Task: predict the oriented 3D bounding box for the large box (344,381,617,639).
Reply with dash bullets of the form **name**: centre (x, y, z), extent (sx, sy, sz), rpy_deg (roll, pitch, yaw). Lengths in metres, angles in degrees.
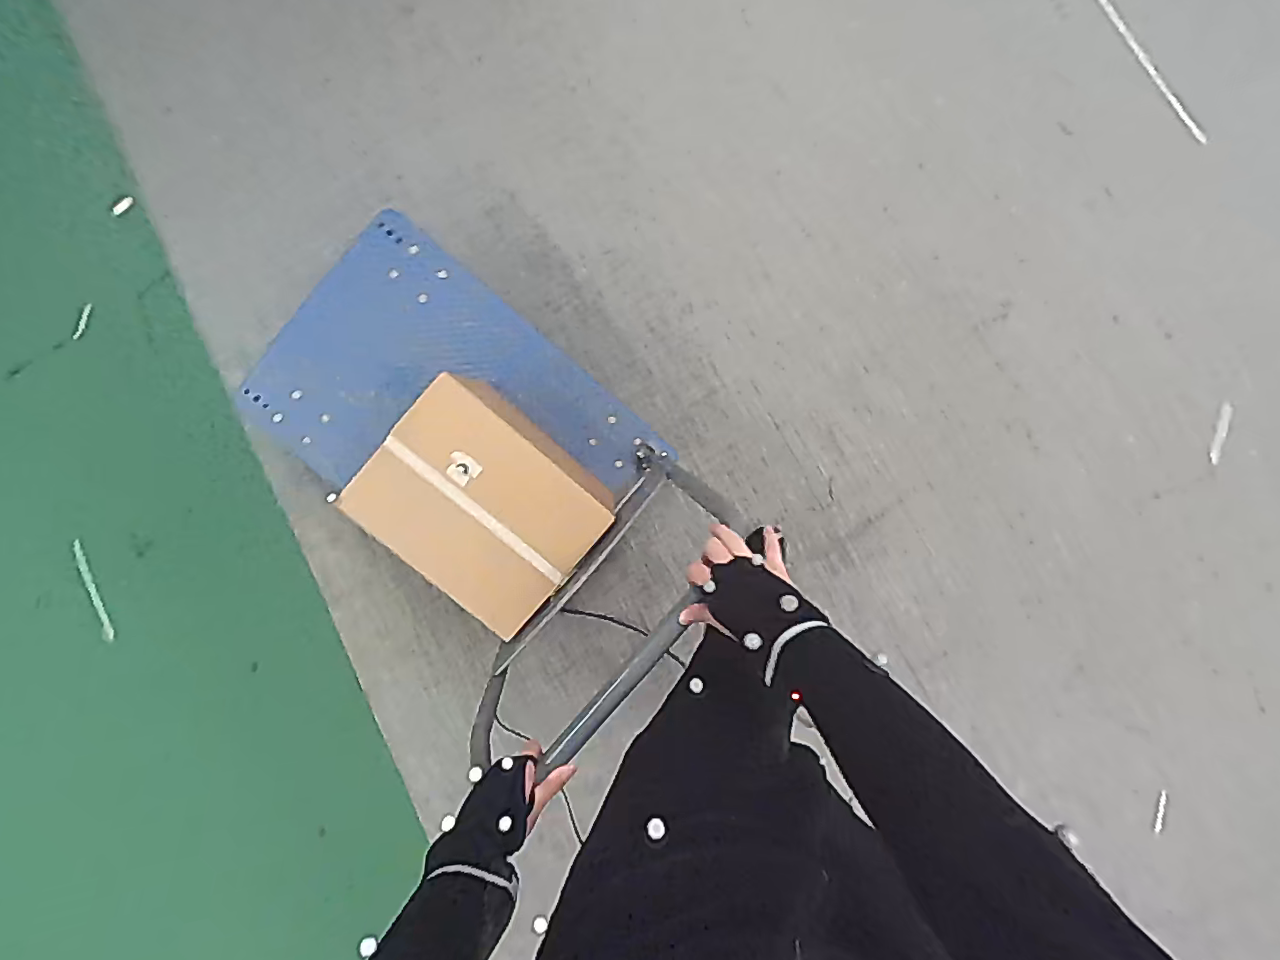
- **large box**: centre (-0.293, 0.047, 1.132), extent (0.408, 0.320, 0.320), rpy_deg (40, 92, -6)
